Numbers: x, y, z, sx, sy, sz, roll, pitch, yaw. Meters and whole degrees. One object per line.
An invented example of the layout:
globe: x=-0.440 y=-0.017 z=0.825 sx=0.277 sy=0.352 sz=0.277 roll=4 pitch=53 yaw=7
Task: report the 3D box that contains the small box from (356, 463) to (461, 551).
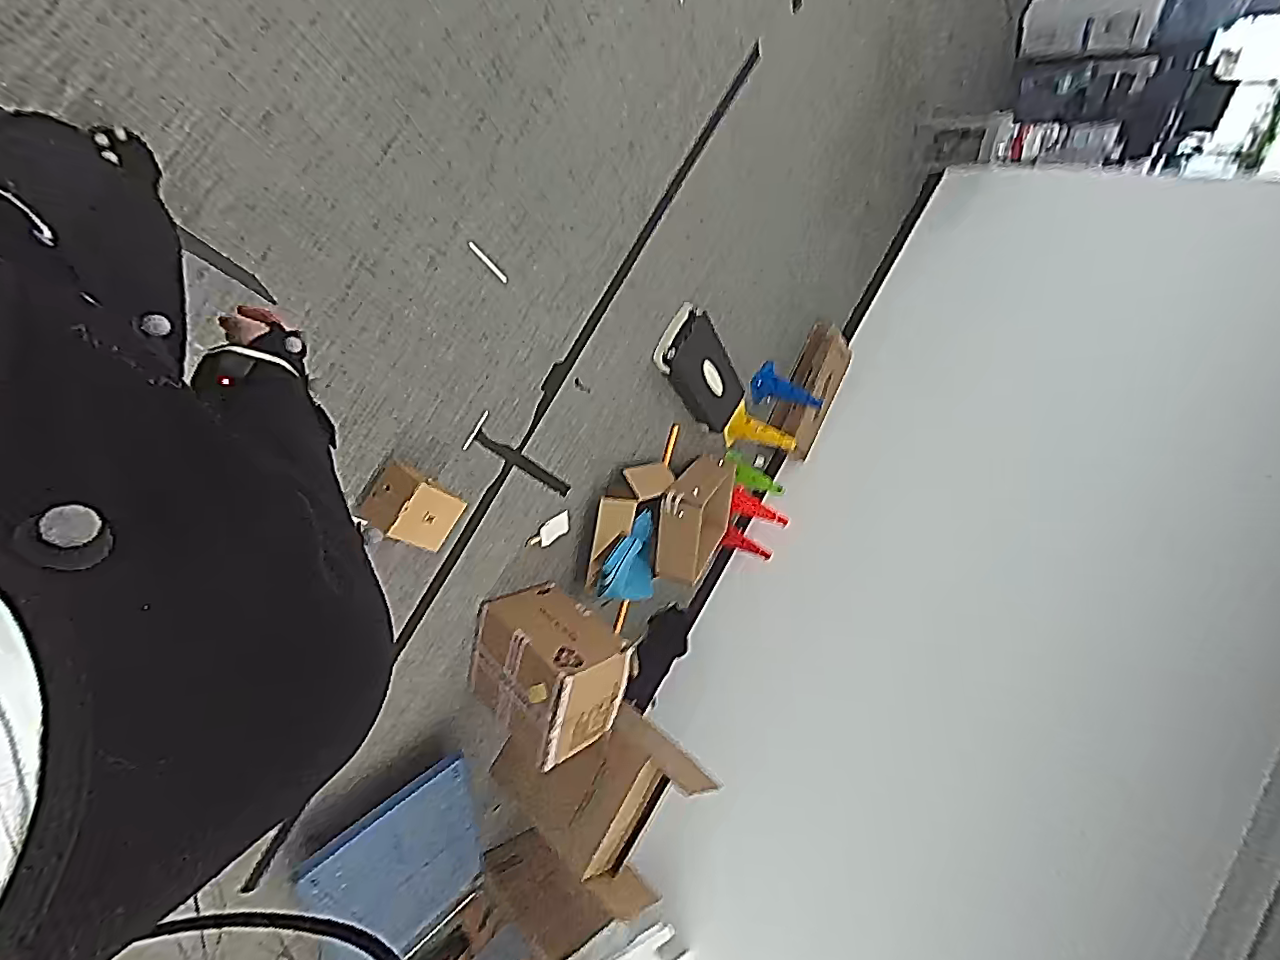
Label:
small box: x=-0.649 y=0.073 z=1.516 sx=0.168 sy=0.176 sz=0.179 roll=-58 pitch=145 yaw=-6
